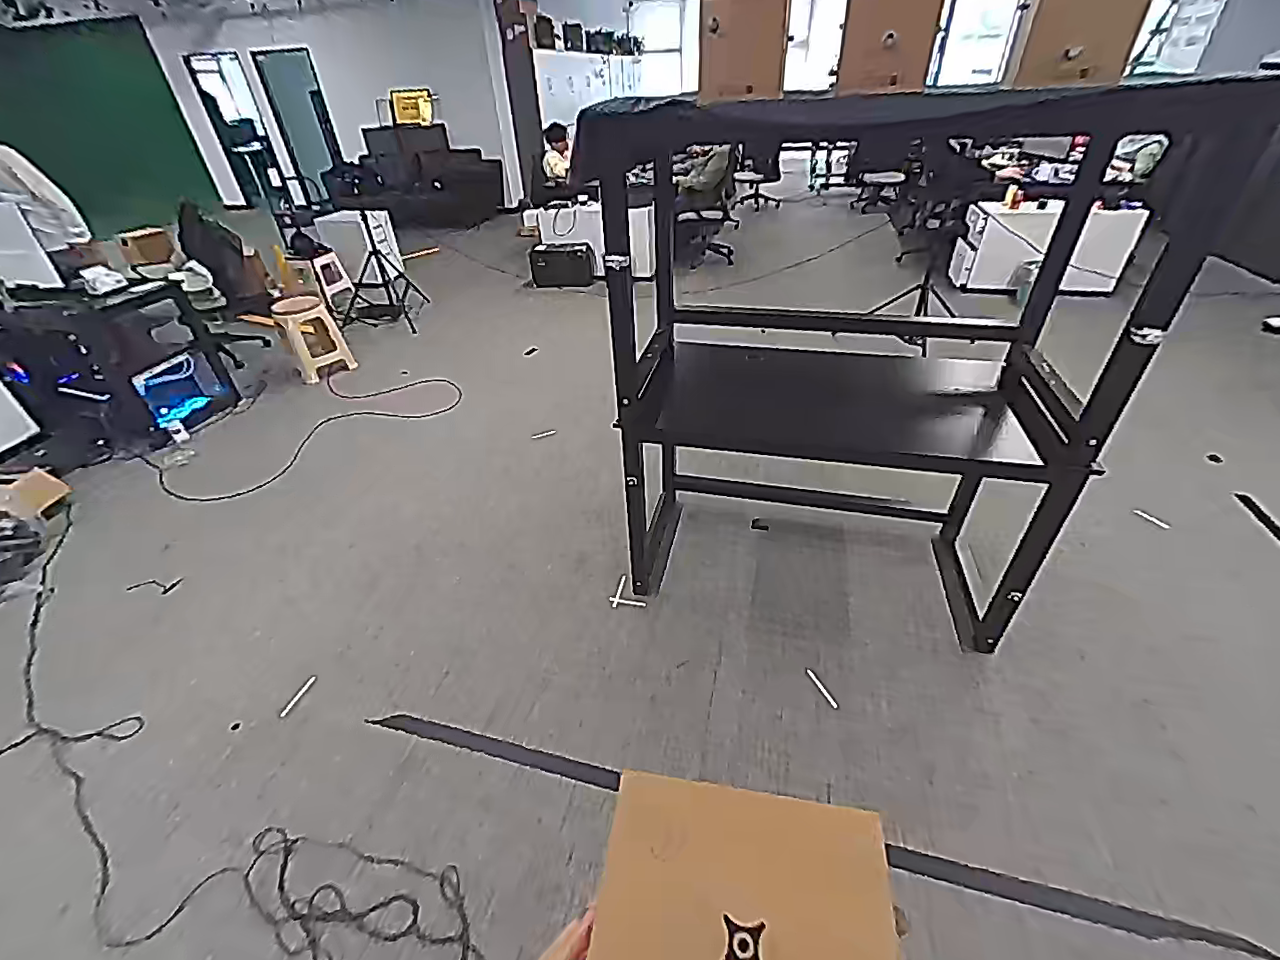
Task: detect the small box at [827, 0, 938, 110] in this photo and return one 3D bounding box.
[{"bbox_3d":[0.466,-0.832,1.059,0.168,0.176,0.179,8,36,13],"label":"small box"}]

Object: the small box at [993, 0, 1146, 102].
[{"bbox_3d":[0.768,-0.794,0.984,0.168,0.176,0.179,10,38,18],"label":"small box"}]

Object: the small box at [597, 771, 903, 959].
[{"bbox_3d":[0.063,0.322,0.345,0.168,0.176,0.179,4,42,11],"label":"small box"}]

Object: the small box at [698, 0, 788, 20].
[{"bbox_3d":[0.202,-0.995,1.027,0.168,0.176,0.179,6,36,13],"label":"small box"}]
